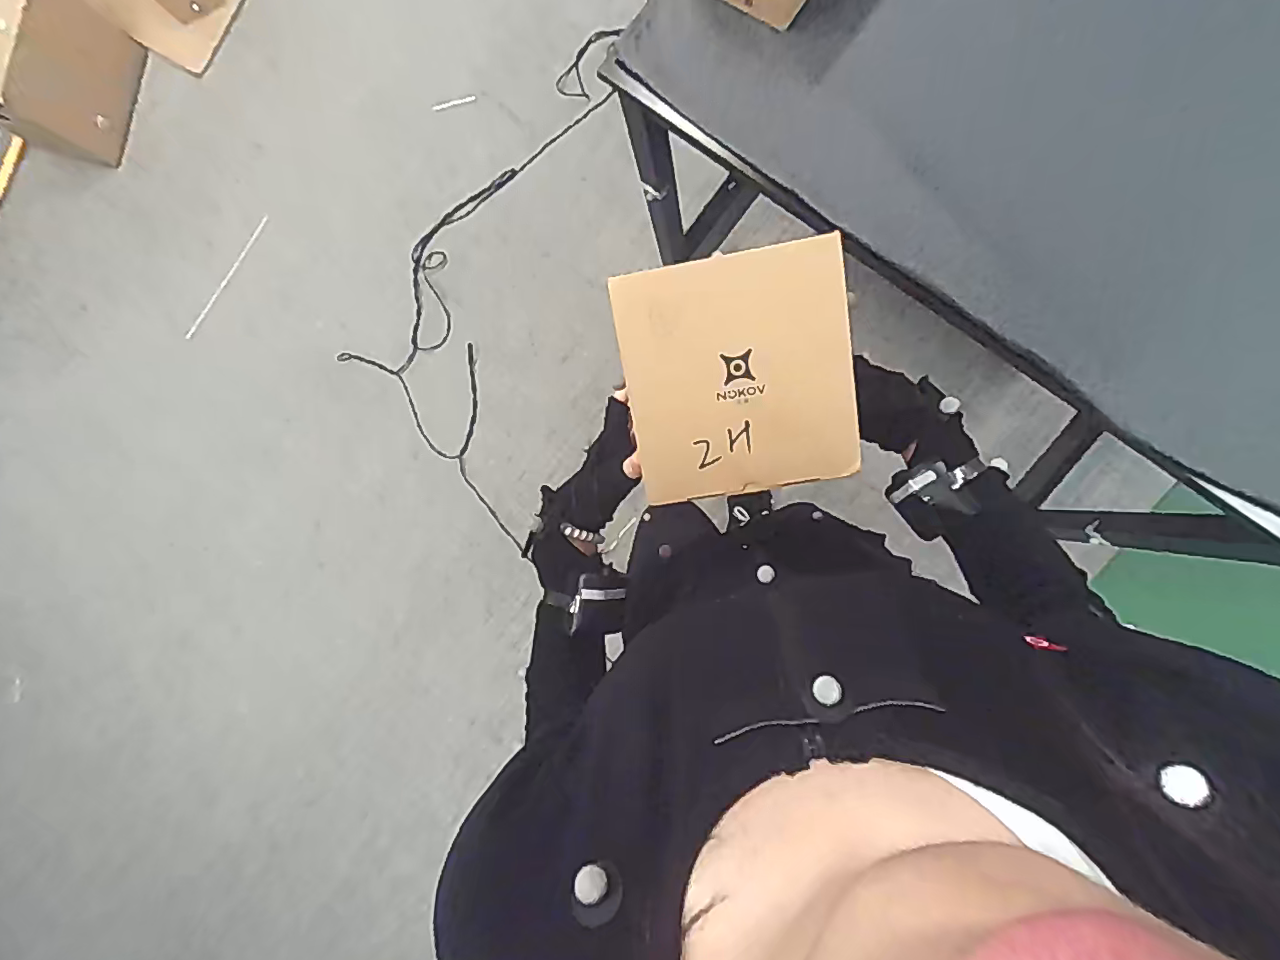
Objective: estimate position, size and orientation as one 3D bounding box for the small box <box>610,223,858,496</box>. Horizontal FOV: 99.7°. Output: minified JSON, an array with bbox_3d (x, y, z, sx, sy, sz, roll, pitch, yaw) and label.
[{"bbox_3d":[0.075,-0.099,0.472,0.168,0.176,0.179,-9,102,7],"label":"small box"}]
